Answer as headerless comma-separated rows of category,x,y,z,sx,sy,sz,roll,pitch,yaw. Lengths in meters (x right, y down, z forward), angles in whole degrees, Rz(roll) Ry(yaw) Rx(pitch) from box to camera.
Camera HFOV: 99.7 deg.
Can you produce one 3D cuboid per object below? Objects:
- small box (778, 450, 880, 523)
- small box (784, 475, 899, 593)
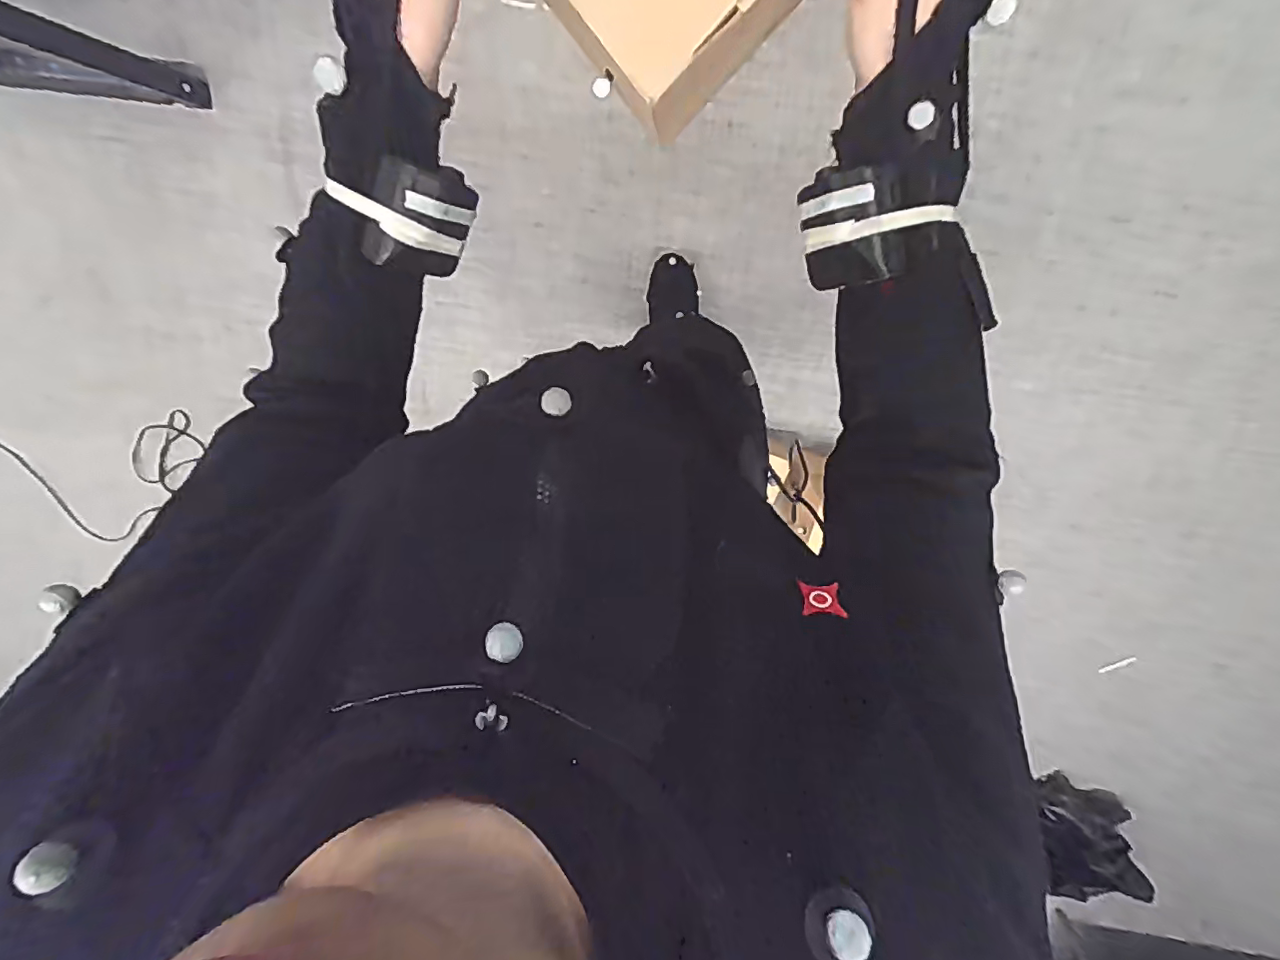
small box,0.442,0.041,1.298,0.168,0.176,0.179,12,111,0
small box,0.415,0.110,1.152,0.168,0.176,0.179,12,111,1
